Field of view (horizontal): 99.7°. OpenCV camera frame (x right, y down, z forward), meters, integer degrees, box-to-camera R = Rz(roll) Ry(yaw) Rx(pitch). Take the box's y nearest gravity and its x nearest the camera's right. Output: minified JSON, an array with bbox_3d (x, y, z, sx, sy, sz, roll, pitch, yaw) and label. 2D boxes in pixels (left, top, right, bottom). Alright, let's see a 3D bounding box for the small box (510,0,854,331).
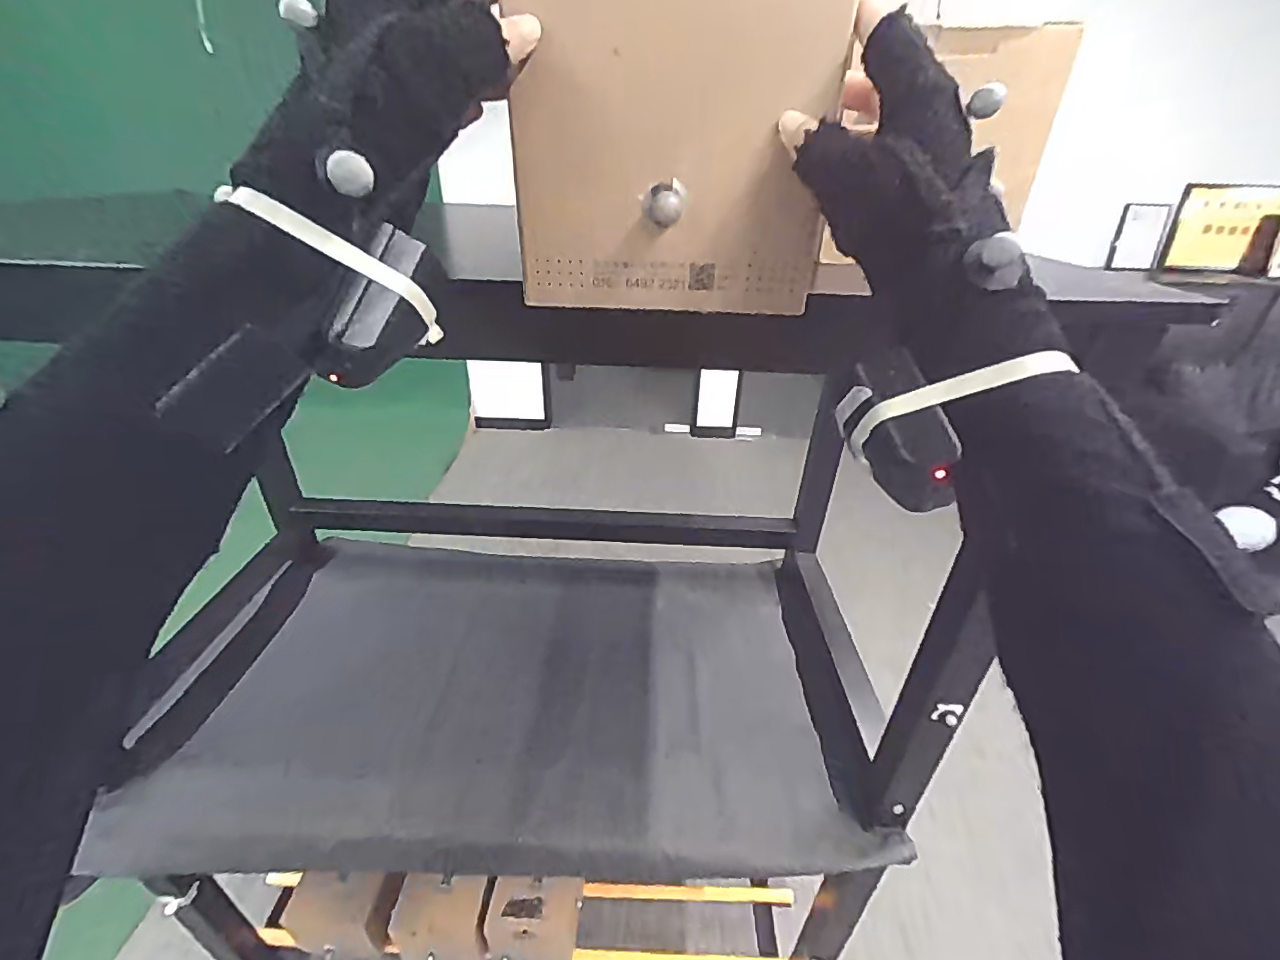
[{"bbox_3d":[0.021,-0.209,0.357,0.168,0.176,0.179,3,33,2],"label":"small box"}]
